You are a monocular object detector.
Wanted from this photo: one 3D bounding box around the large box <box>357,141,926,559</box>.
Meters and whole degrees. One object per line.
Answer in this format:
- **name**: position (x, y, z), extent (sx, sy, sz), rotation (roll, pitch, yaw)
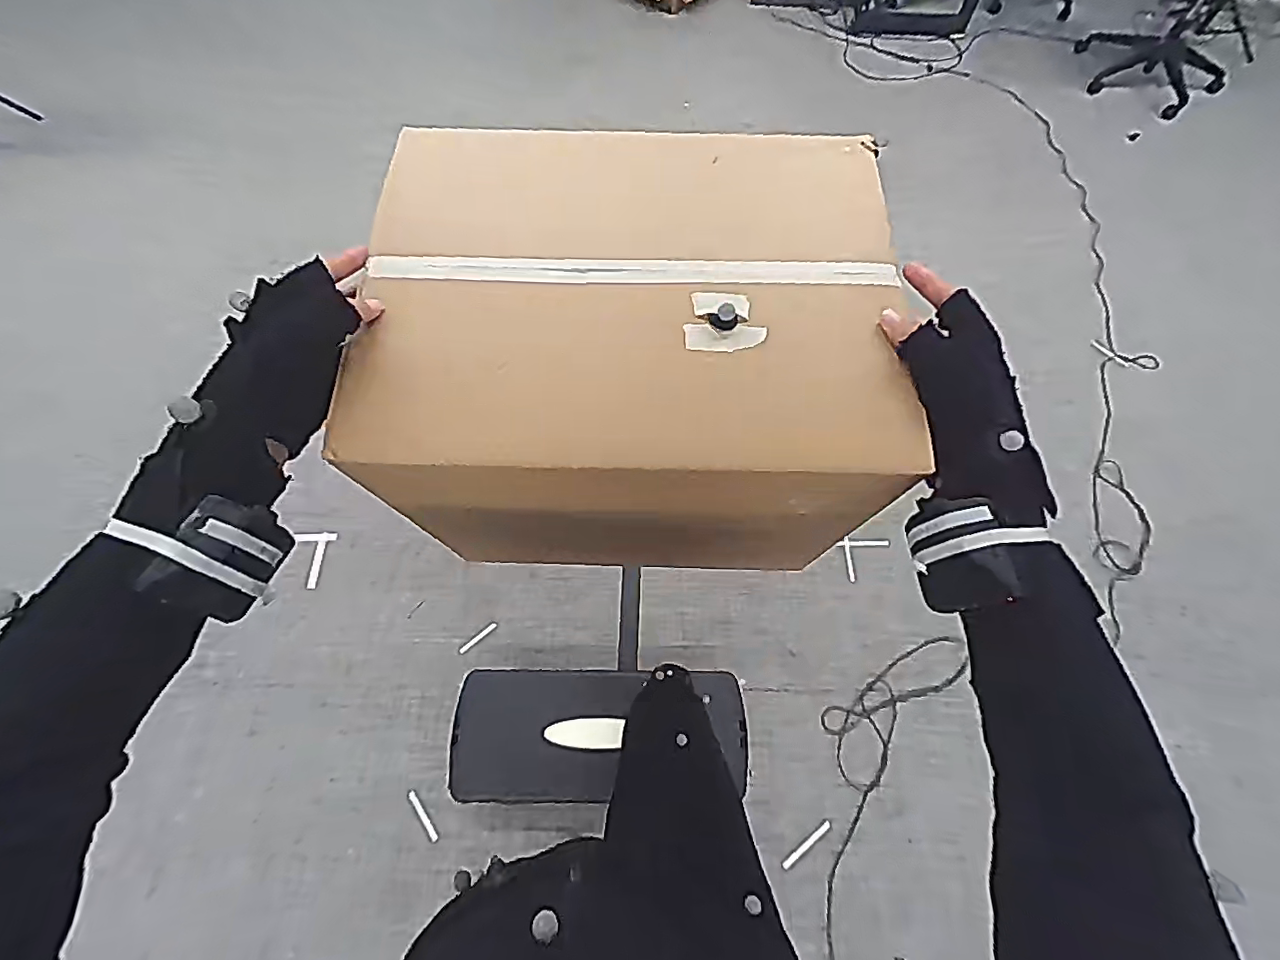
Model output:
- **large box**: position (0.000, -0.101, 0.563), extent (0.408, 0.320, 0.320), rotation (2, 70, 0)
